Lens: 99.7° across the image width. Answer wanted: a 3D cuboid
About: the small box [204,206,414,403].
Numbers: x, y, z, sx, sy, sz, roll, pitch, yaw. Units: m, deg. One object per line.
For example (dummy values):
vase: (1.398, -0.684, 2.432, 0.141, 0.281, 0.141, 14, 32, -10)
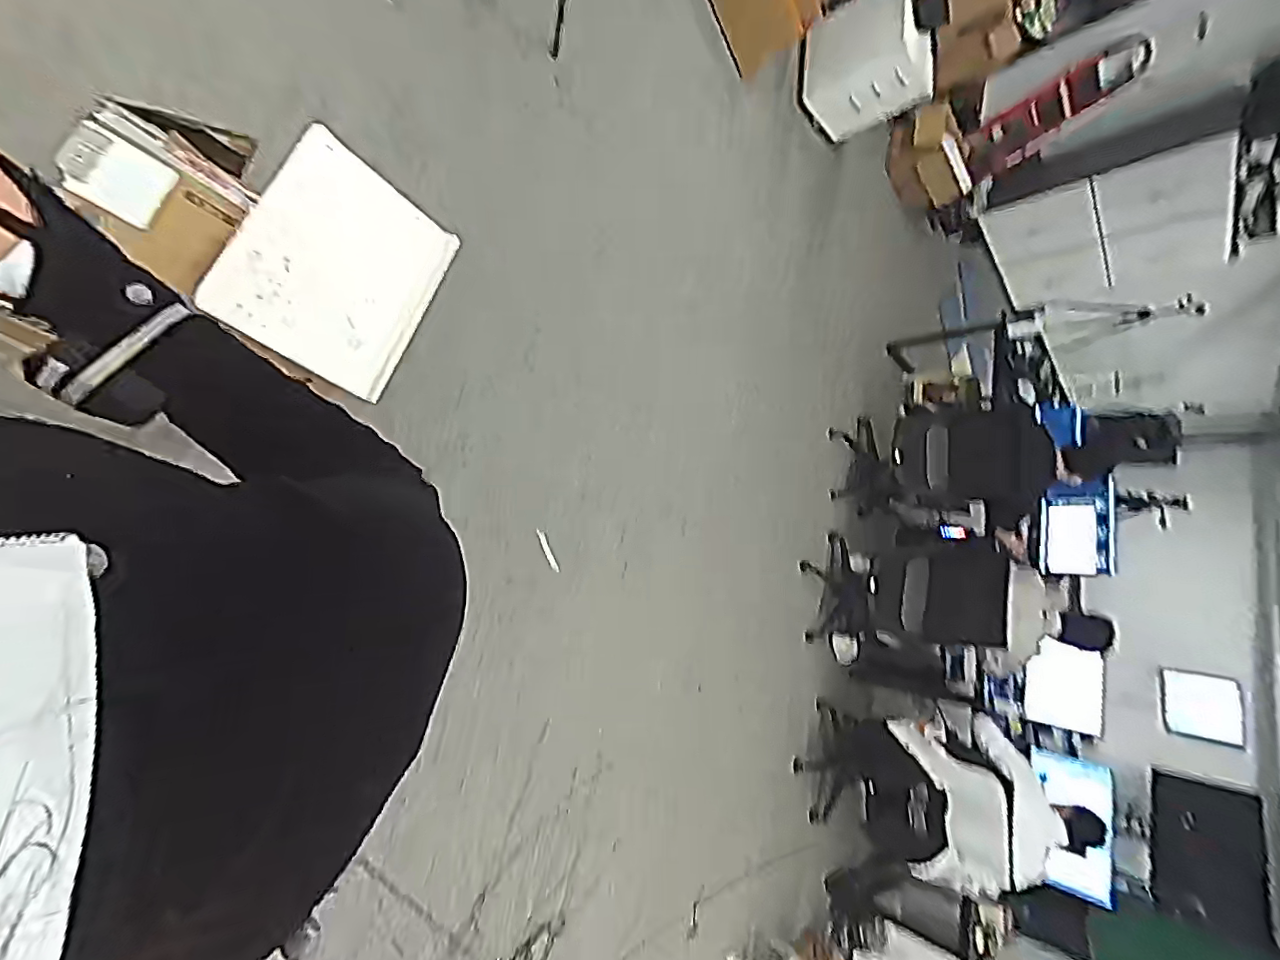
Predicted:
small box: (-0.448, -0.222, 0.731, 0.168, 0.176, 0.179, 35, 66, -41)
